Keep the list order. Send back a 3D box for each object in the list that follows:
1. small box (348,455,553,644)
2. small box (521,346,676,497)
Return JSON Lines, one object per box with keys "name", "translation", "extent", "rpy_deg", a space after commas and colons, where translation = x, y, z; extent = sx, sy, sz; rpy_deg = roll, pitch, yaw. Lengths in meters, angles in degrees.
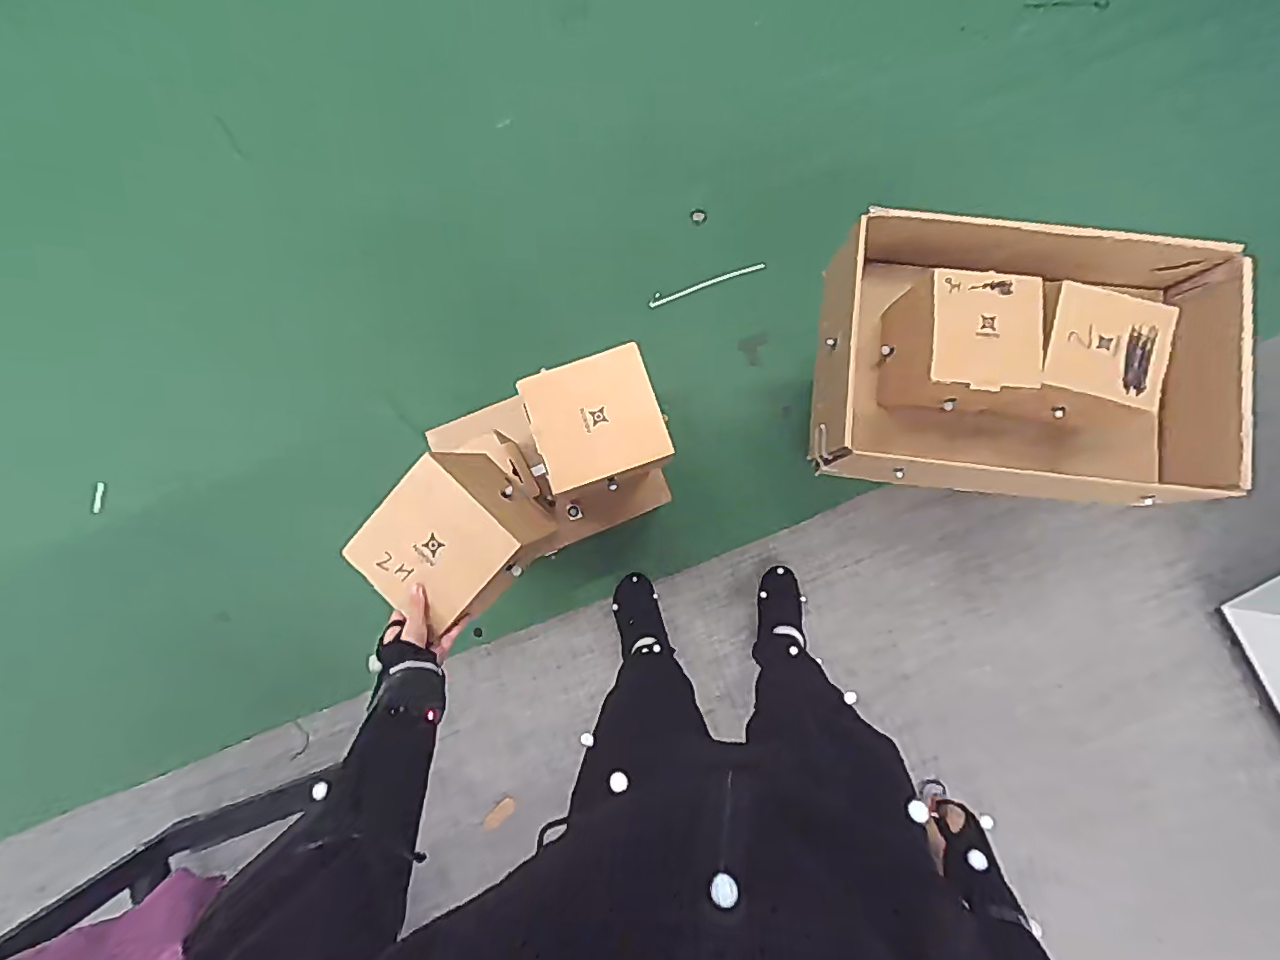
{"name": "small box", "translation": [-0.239, 0.083, 0.736], "extent": [0.168, 0.176, 0.179], "rpy_deg": [43, 98, 6]}
{"name": "small box", "translation": [-0.058, -0.078, 0.815], "extent": [0.179, 0.176, 0.168], "rpy_deg": [-20, 87, -1]}
